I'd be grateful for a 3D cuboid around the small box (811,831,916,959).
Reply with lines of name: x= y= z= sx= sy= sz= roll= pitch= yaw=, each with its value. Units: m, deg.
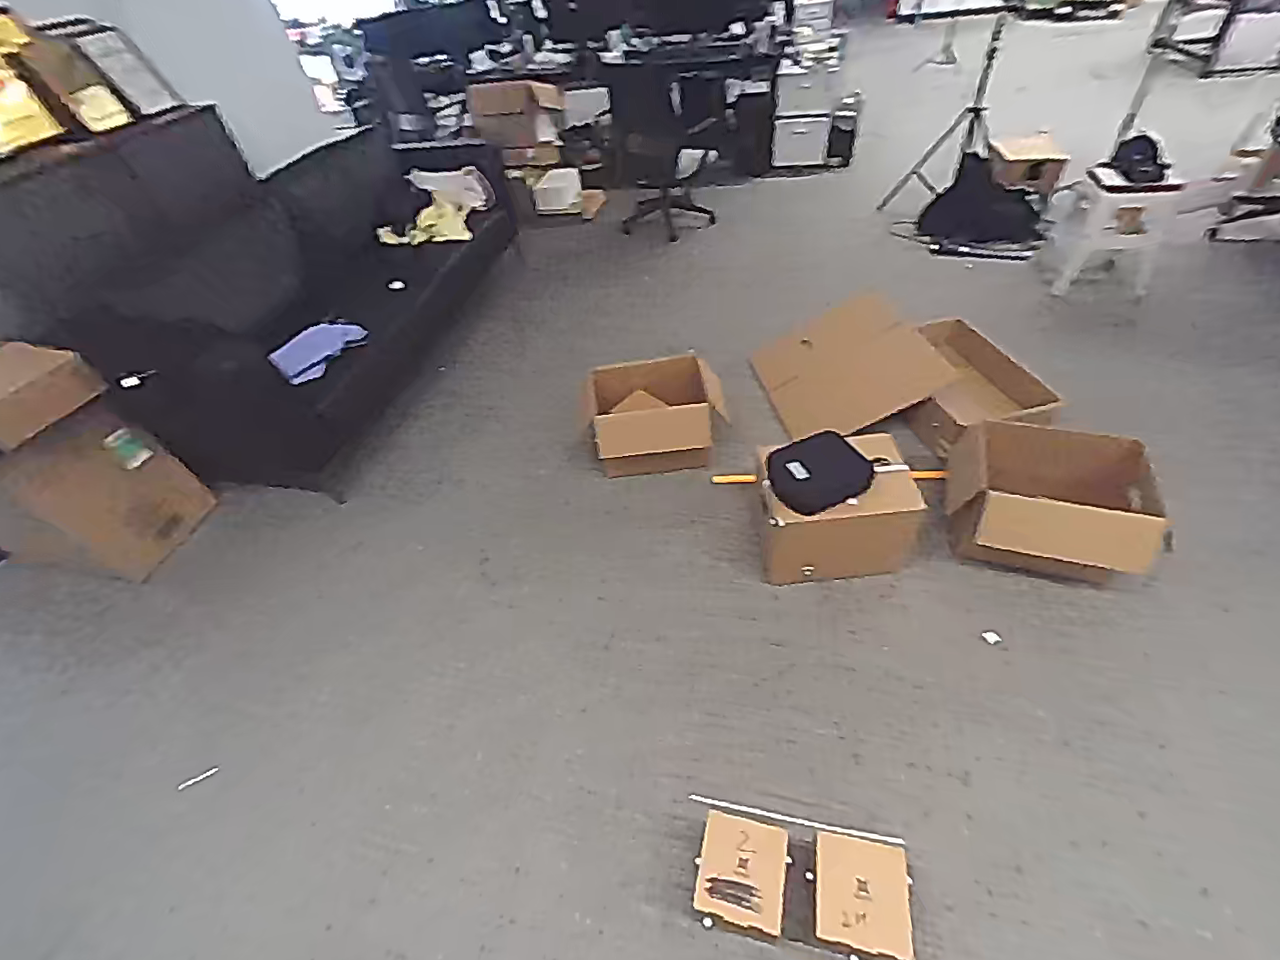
small box: x=0.433 y=0.835 z=1.073 sx=0.168 sy=0.176 sz=0.179 roll=4 pitch=47 yaw=15
